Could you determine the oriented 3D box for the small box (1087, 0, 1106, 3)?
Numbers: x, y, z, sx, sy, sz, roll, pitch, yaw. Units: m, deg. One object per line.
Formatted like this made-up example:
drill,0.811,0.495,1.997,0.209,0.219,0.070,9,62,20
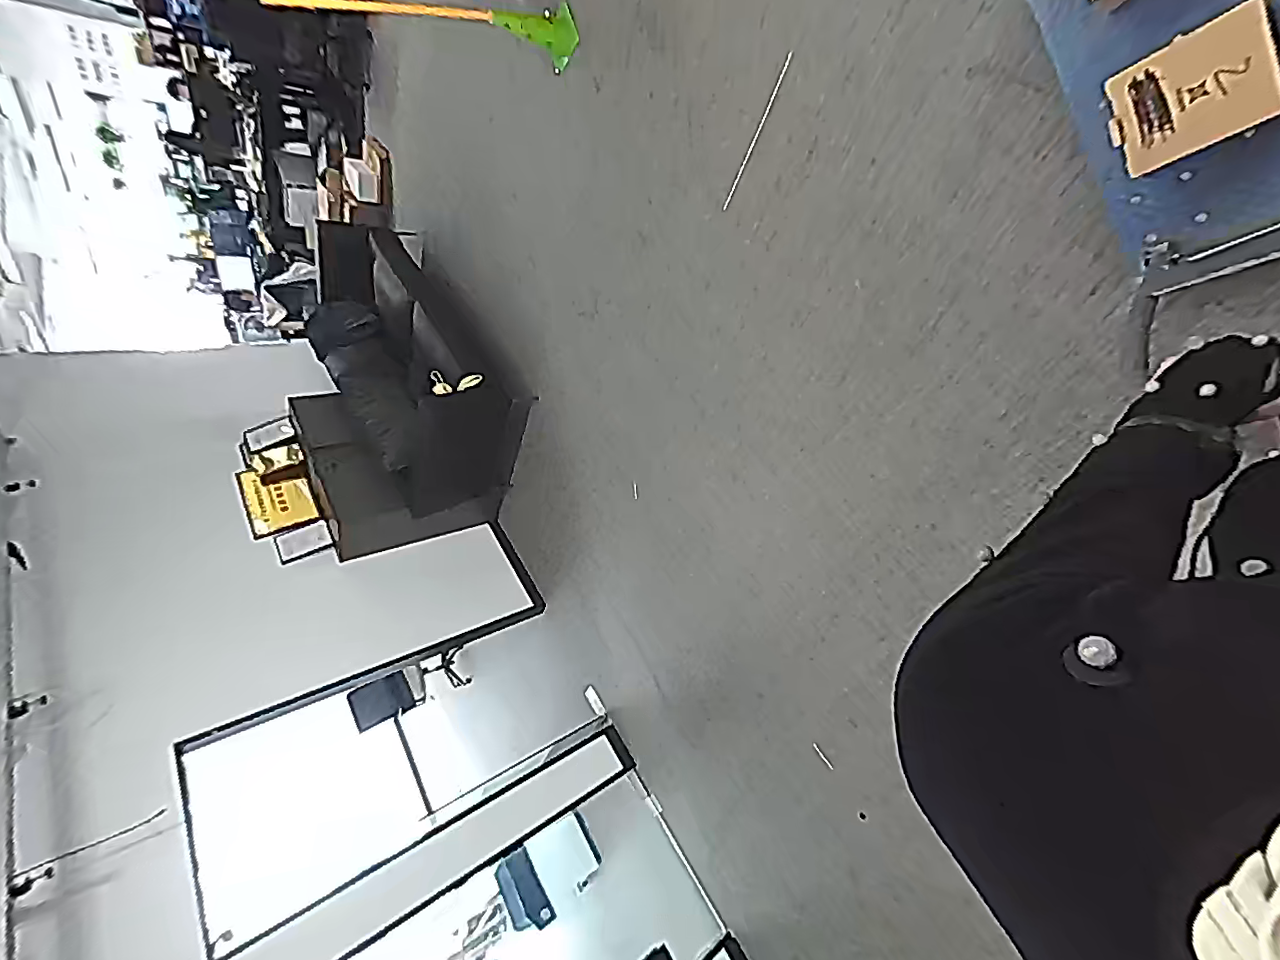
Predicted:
small box,0.765,-0.894,0.840,0.168,0.176,0.179,-28,93,51
